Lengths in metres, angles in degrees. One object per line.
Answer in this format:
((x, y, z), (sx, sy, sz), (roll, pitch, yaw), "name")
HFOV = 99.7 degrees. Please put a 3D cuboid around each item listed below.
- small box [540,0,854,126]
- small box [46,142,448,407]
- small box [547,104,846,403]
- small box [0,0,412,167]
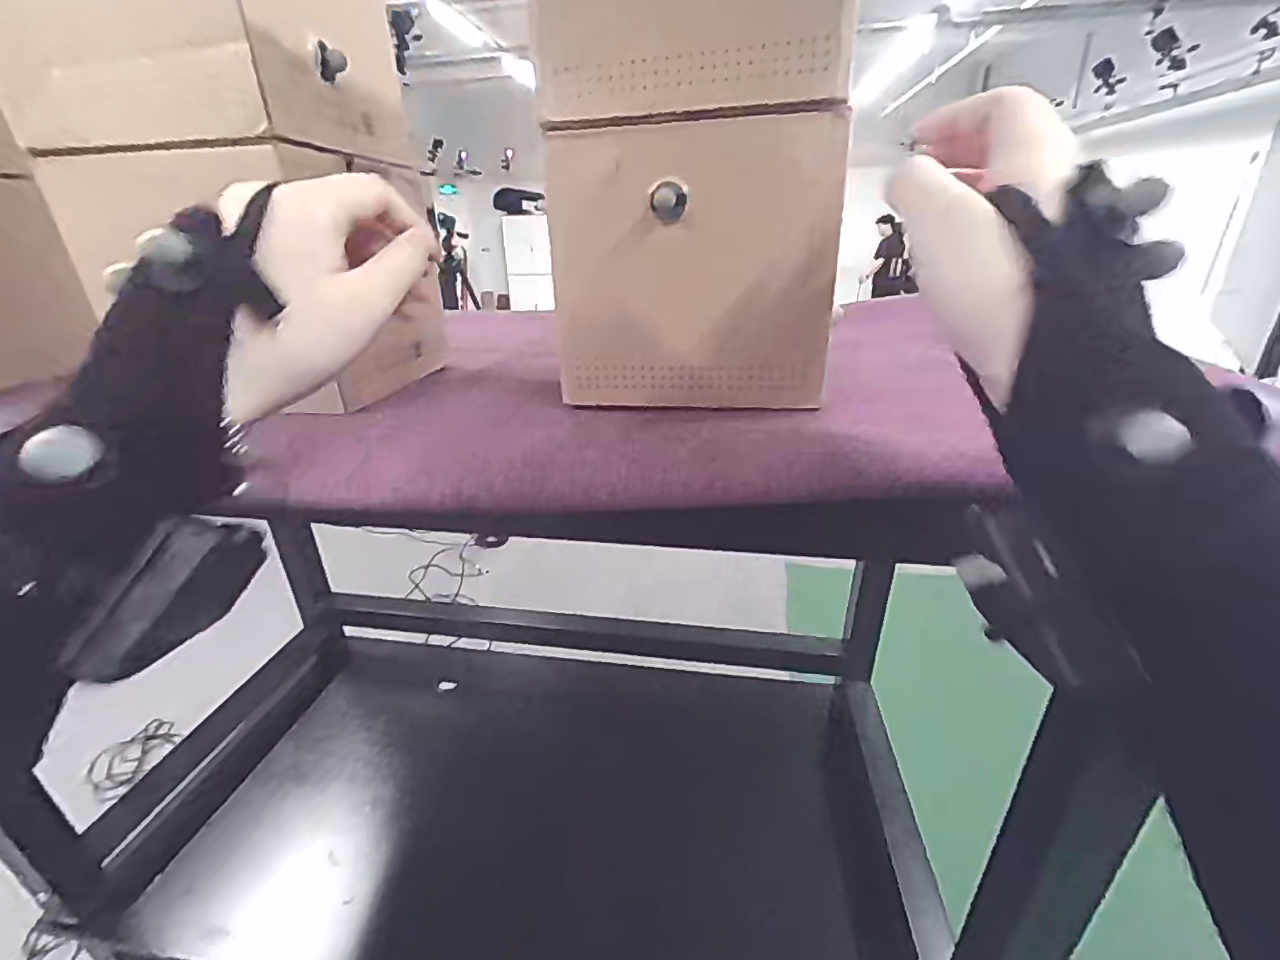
((0.039, -0.309, 0.347), (0.179, 0.176, 0.168), (2, 23, 11), "small box")
((-0.277, -0.158, 0.433), (0.179, 0.176, 0.168), (1, 24, 8), "small box")
((0.045, -0.157, 0.408), (0.179, 0.176, 0.168), (3, 23, 10), "small box")
((-0.286, -0.308, 0.368), (0.179, 0.176, 0.168), (2, 24, 6), "small box")
